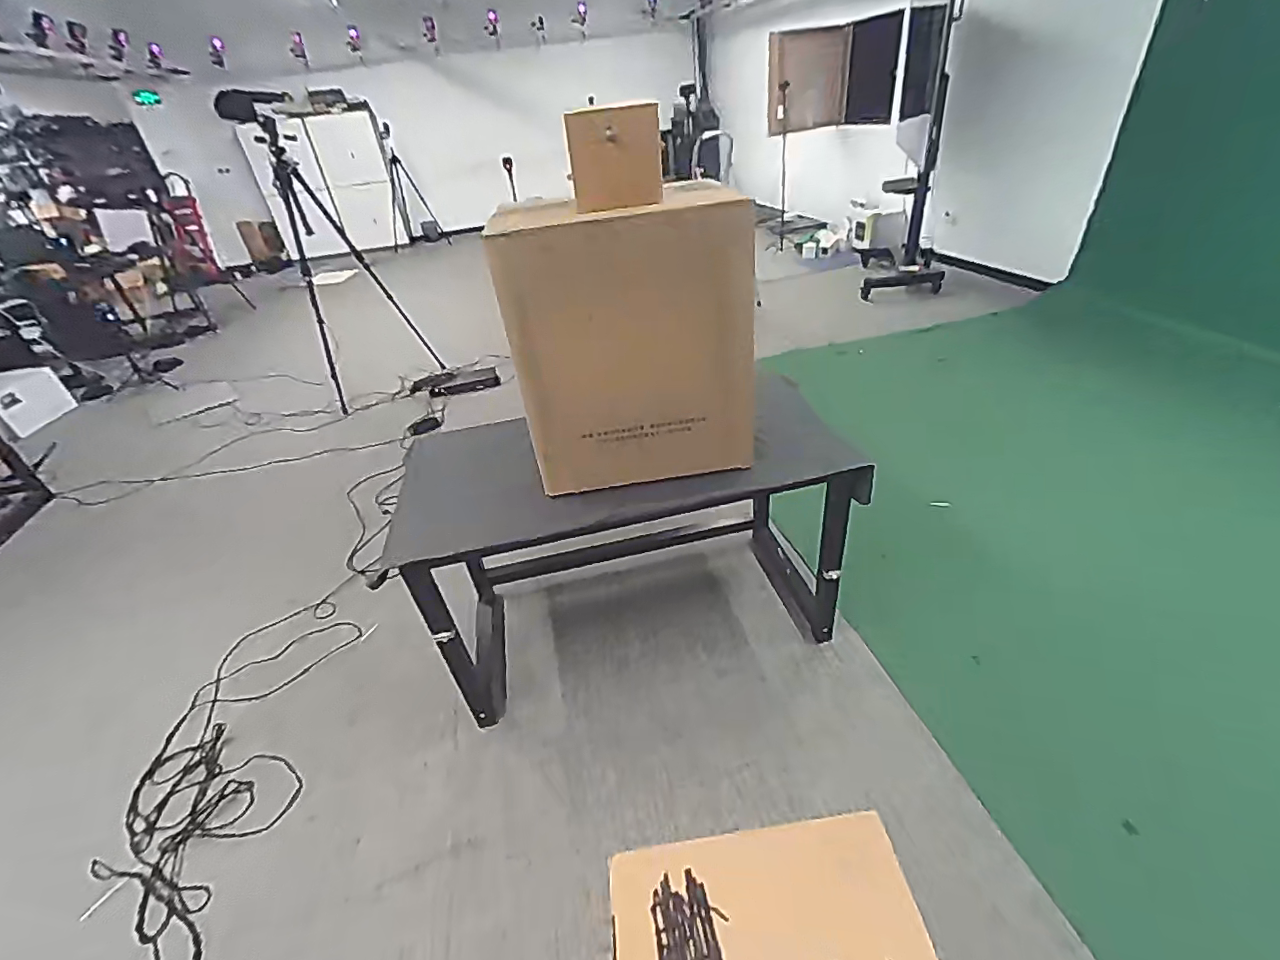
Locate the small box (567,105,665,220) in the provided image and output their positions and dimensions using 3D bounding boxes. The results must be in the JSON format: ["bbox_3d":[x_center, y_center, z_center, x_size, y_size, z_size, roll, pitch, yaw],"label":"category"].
[{"bbox_3d":[-0.045,-0.634,1.078,0.179,0.176,0.168,-8,37,-1],"label":"small box"}]
